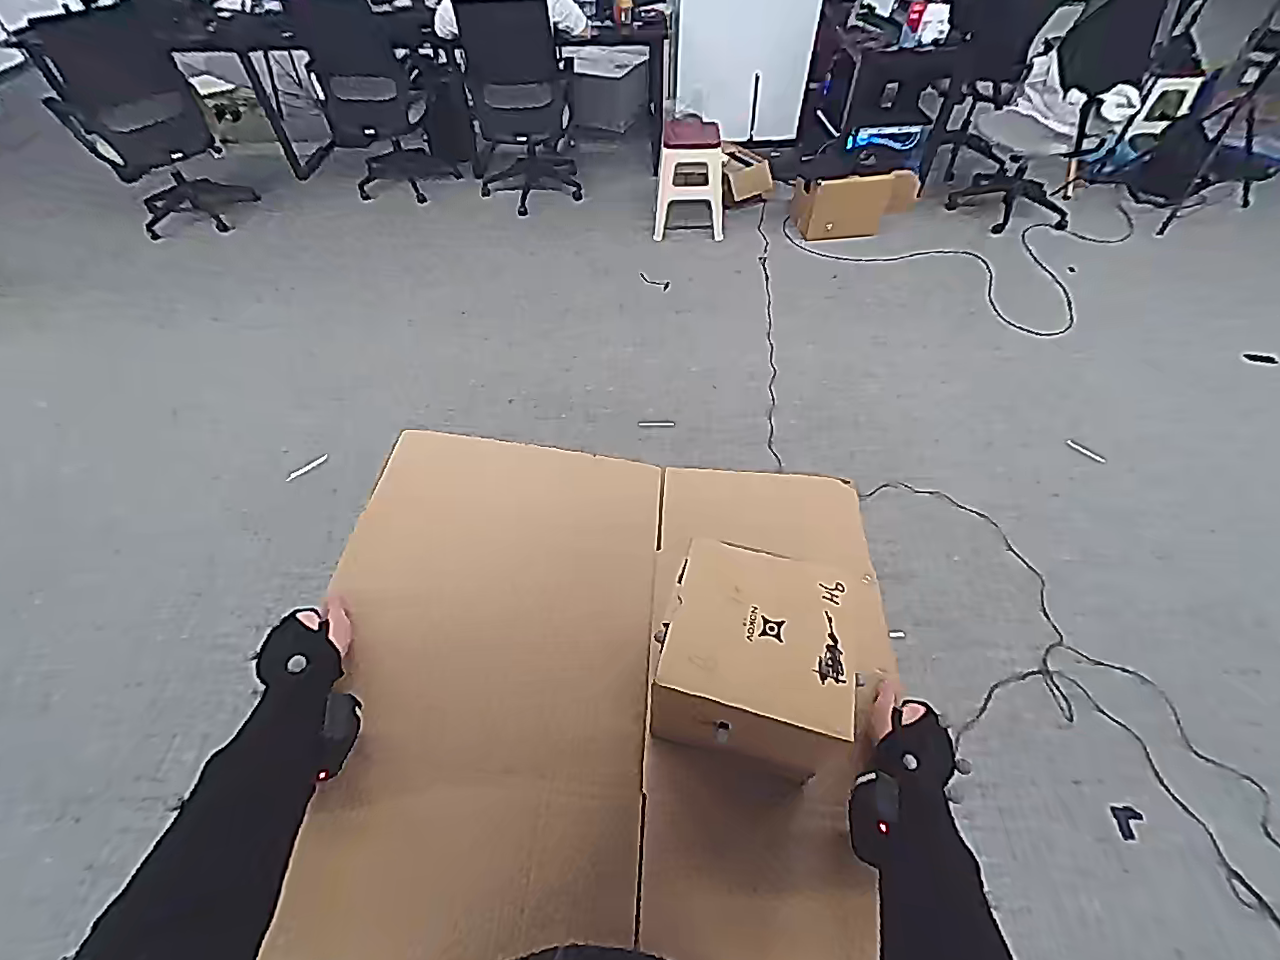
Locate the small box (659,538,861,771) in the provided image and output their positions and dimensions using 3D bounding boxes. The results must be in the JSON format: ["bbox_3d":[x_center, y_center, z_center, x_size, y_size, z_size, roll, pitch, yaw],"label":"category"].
[{"bbox_3d":[0.124,0.191,0.583,0.179,0.176,0.168,12,52,11],"label":"small box"}]
